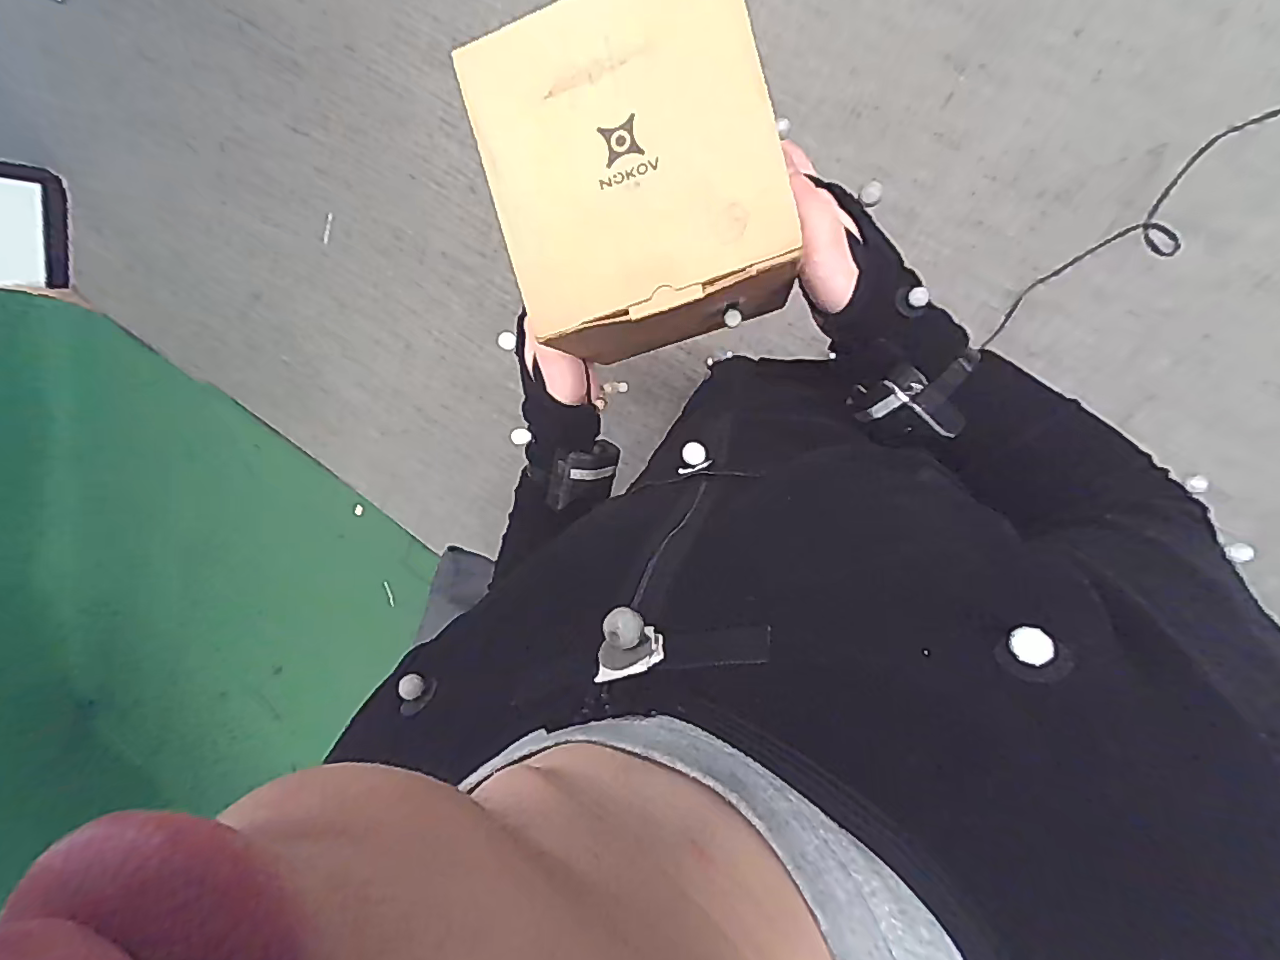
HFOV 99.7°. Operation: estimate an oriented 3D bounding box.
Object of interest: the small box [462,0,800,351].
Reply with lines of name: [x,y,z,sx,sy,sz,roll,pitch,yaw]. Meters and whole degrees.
small box: [0.007,-0.200,0.388,0.168,0.176,0.179,-15,93,11]
